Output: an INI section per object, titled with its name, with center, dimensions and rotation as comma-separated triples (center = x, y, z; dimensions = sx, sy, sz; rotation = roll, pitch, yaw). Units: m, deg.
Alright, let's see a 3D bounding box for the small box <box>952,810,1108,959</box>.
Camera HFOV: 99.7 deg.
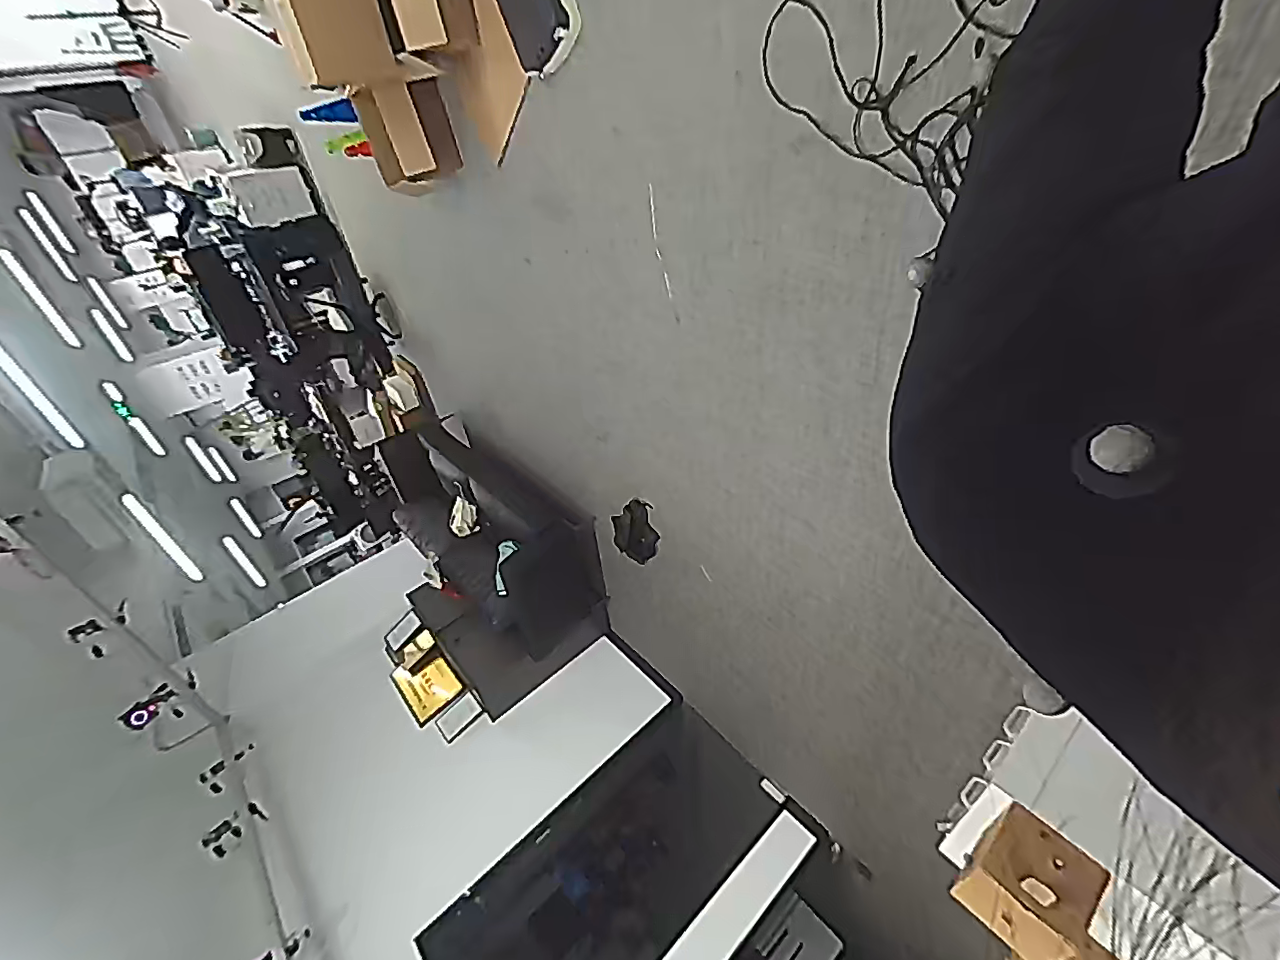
[small box]
center = 0.741, 0.780, 1.031
dimensions = 0.168, 0.176, 0.179
rotation = 35, 143, 37
